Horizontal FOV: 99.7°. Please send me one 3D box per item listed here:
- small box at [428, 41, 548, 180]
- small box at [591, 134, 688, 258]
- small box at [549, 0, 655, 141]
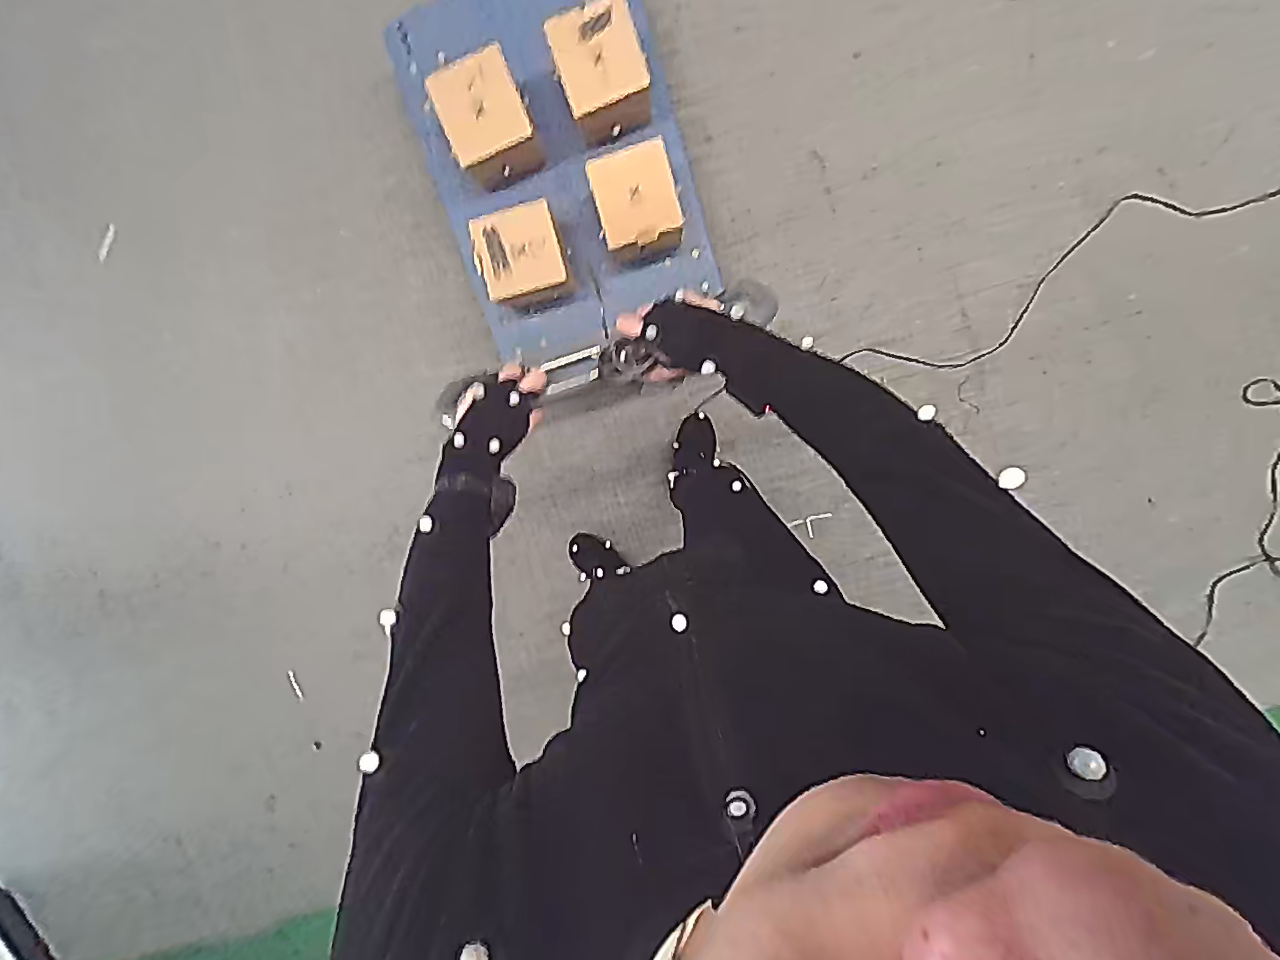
[{"bbox_3d":[-0.314,-0.773,1.162,0.168,0.176,0.179,-21,101,6],"label":"small box"},{"bbox_3d":[0.001,-0.611,1.187,0.168,0.176,0.179,-16,102,6],"label":"small box"},{"bbox_3d":[-0.073,-0.858,1.133,0.168,0.176,0.179,-19,102,7],"label":"small box"}]
